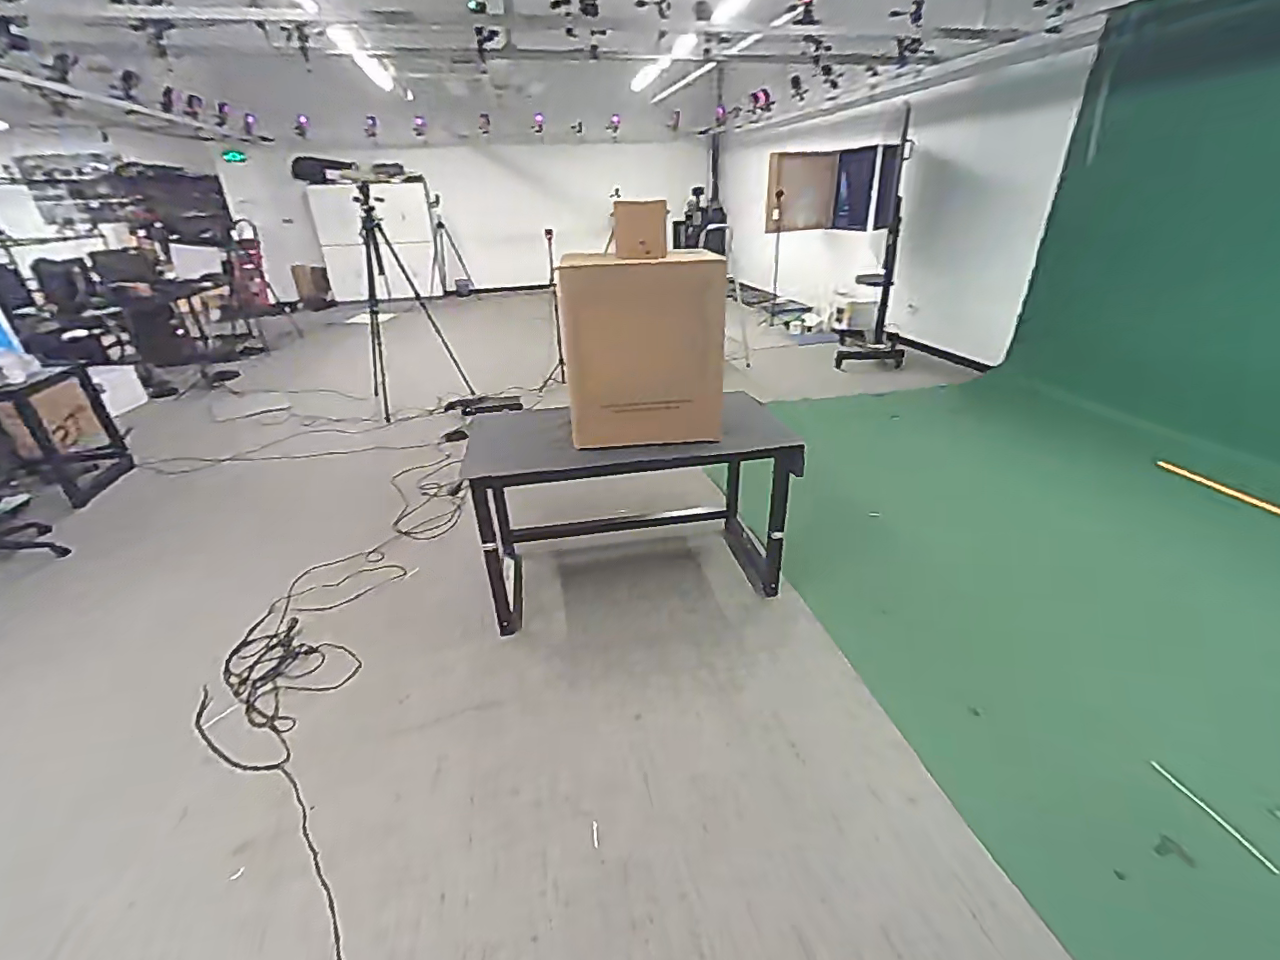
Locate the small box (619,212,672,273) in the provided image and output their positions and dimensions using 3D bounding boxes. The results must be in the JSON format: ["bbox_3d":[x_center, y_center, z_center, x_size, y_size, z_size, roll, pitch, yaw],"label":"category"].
[{"bbox_3d":[0.016,-0.781,1.772,0.168,0.176,0.179,-1,29,0],"label":"small box"}]
